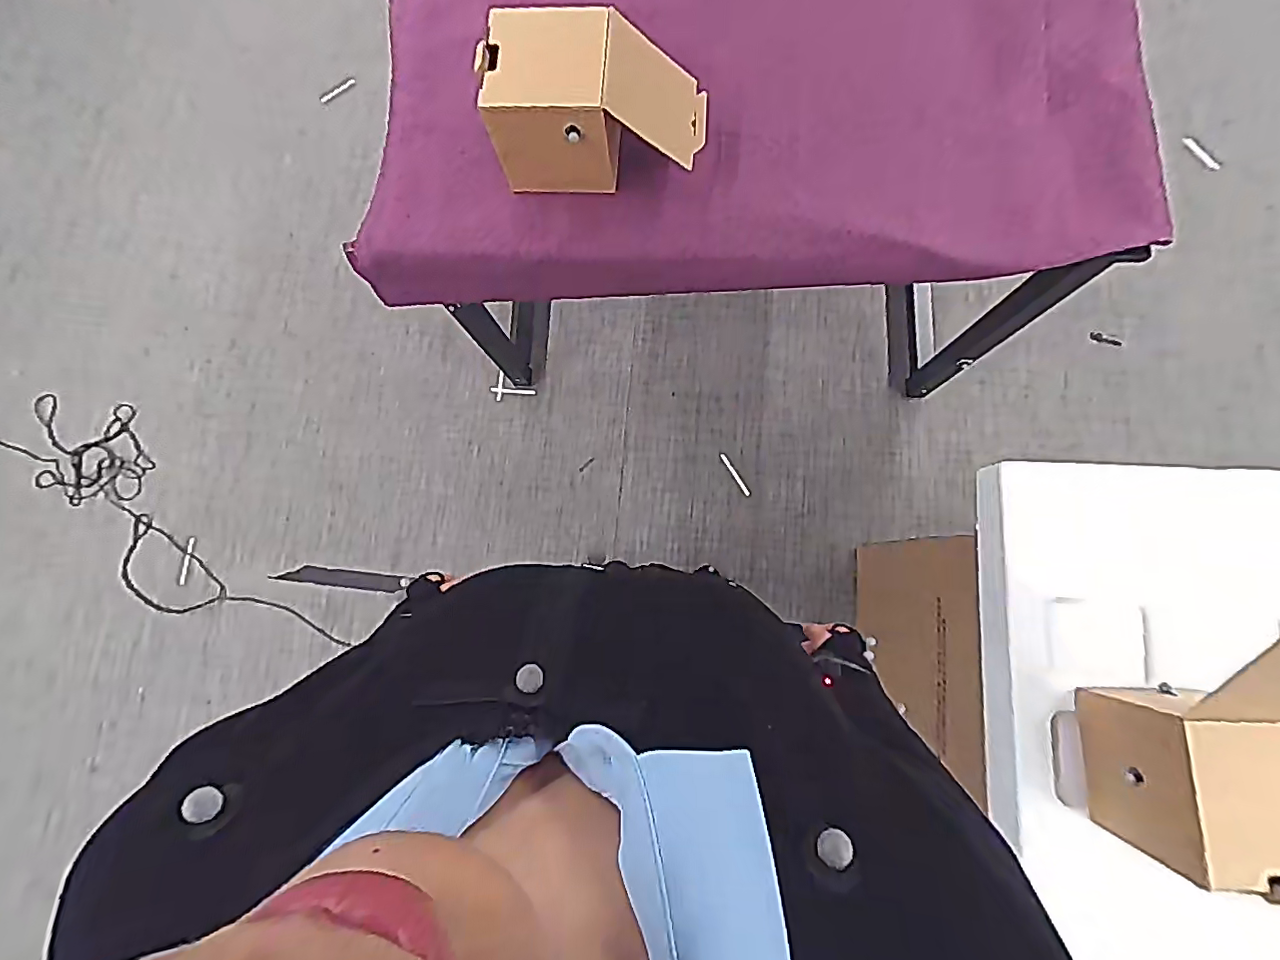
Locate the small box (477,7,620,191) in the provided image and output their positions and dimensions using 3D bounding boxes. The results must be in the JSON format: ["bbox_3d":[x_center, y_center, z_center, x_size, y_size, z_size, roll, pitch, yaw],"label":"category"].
[{"bbox_3d":[-0.127,-0.570,0.827,0.179,0.176,0.168,3,79,5],"label":"small box"}]
